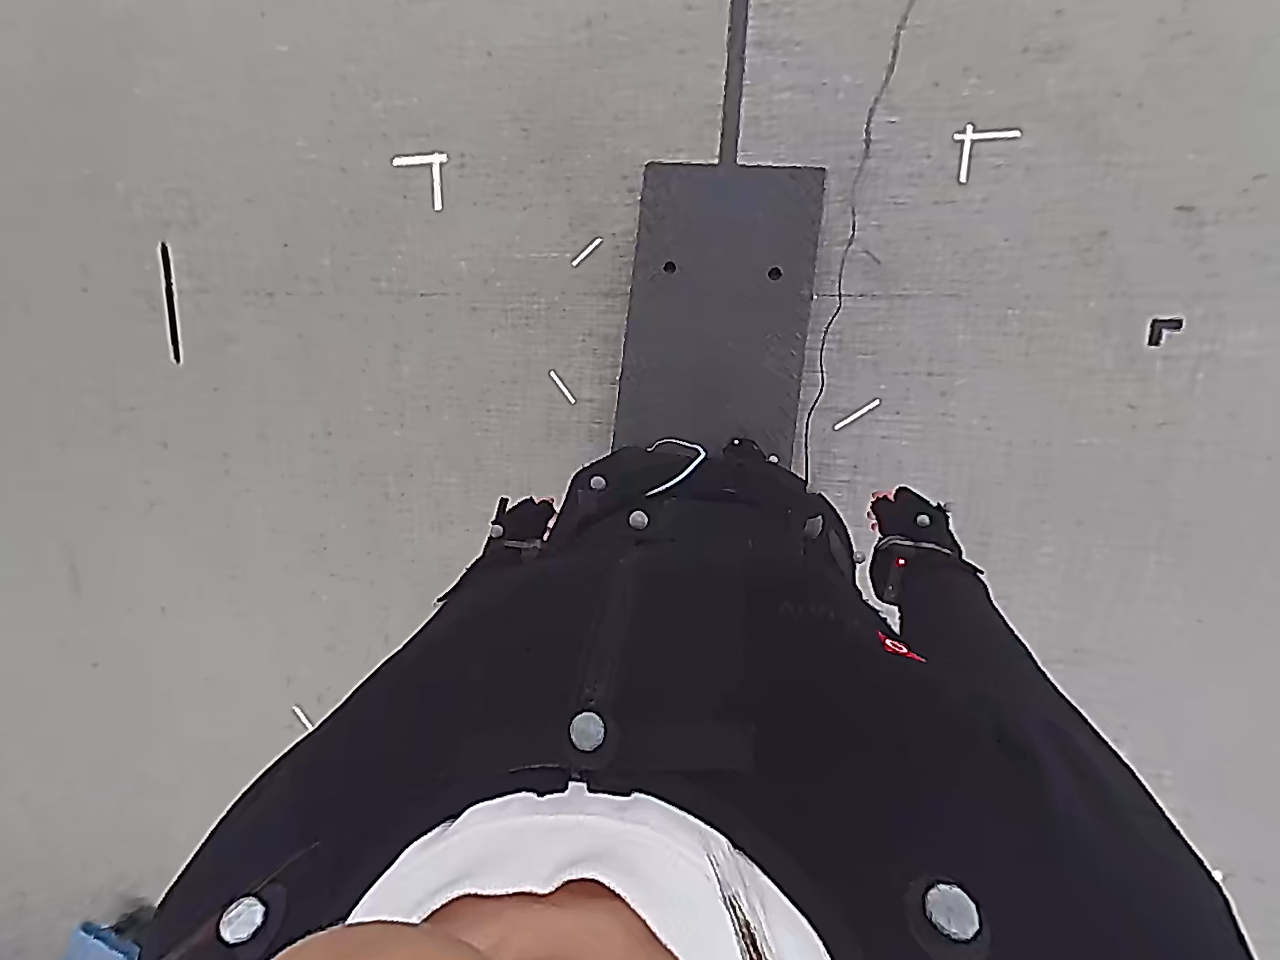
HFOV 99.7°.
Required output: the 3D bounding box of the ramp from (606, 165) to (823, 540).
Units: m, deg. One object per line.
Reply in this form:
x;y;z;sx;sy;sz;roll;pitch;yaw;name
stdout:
0.195;-0.359;1.469;0.509;0.206;0.991;5;99;10;ramp
